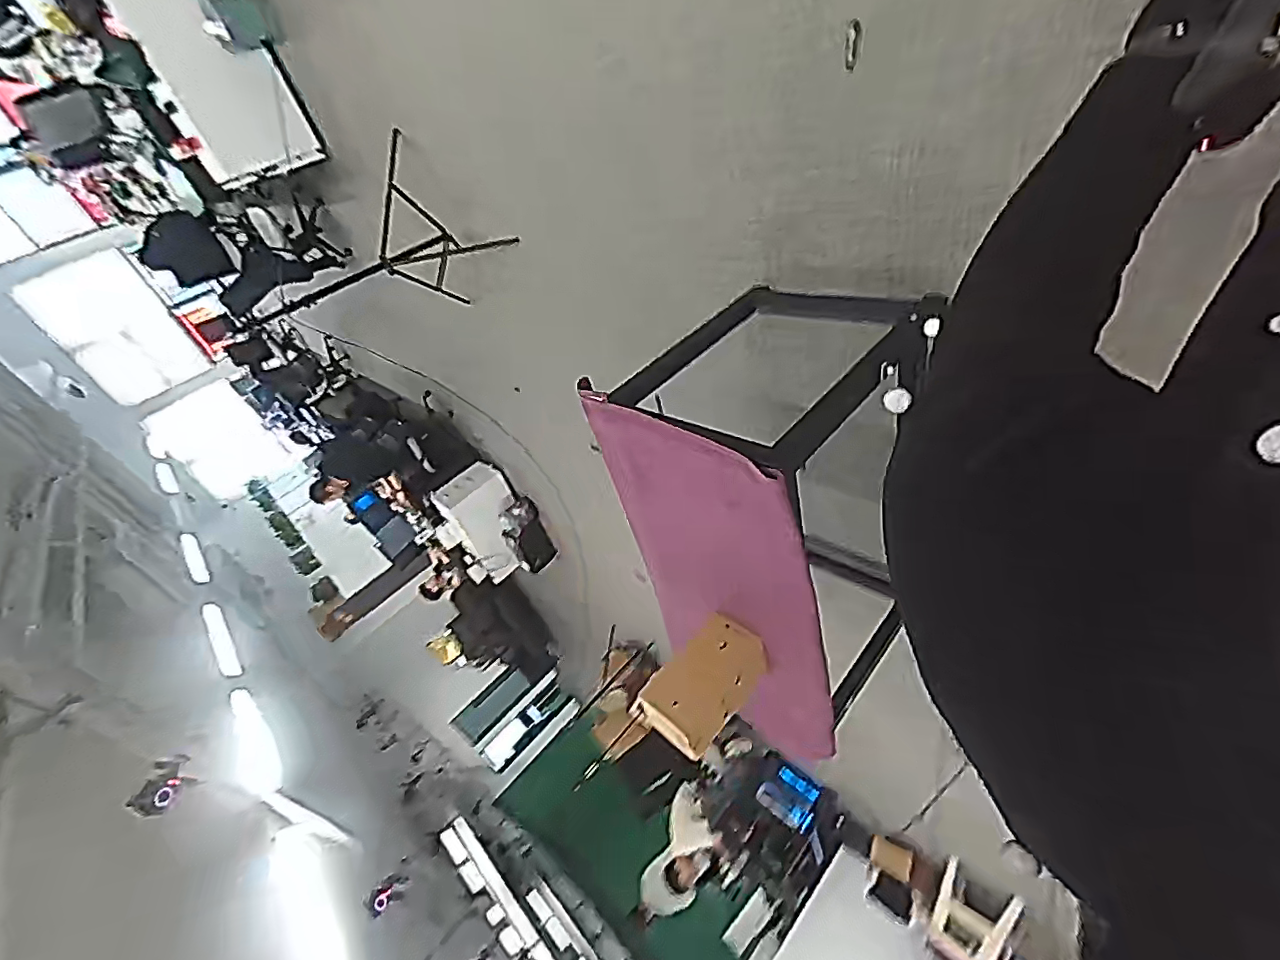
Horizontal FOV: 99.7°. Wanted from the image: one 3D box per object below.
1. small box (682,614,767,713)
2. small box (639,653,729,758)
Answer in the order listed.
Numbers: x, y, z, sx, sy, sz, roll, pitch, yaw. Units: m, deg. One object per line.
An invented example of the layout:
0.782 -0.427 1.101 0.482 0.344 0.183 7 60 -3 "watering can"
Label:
0.249 0.524 1.563 0.168 0.176 0.179 25 146 41 "small box"
0.131 0.618 1.497 0.179 0.176 0.168 24 144 43 "small box"
